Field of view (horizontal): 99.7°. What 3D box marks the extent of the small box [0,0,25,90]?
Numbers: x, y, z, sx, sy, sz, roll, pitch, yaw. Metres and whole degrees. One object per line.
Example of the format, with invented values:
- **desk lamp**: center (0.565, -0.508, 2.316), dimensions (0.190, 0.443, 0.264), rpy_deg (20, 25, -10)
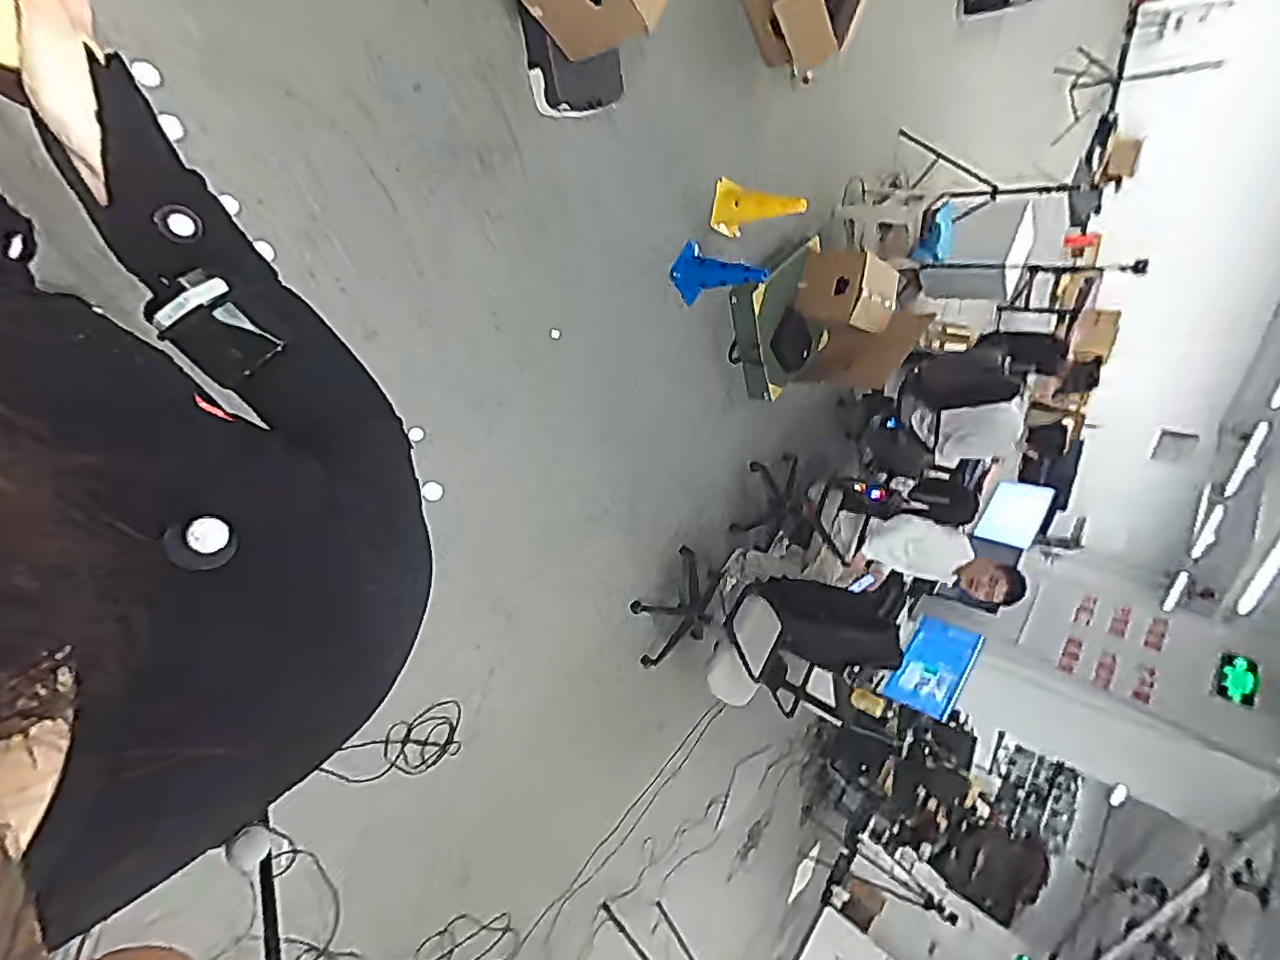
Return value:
- **small box**: center (-0.422, -0.314, 0.251), dimensions (0.168, 0.176, 0.179), rpy_deg (-8, 116, -45)
